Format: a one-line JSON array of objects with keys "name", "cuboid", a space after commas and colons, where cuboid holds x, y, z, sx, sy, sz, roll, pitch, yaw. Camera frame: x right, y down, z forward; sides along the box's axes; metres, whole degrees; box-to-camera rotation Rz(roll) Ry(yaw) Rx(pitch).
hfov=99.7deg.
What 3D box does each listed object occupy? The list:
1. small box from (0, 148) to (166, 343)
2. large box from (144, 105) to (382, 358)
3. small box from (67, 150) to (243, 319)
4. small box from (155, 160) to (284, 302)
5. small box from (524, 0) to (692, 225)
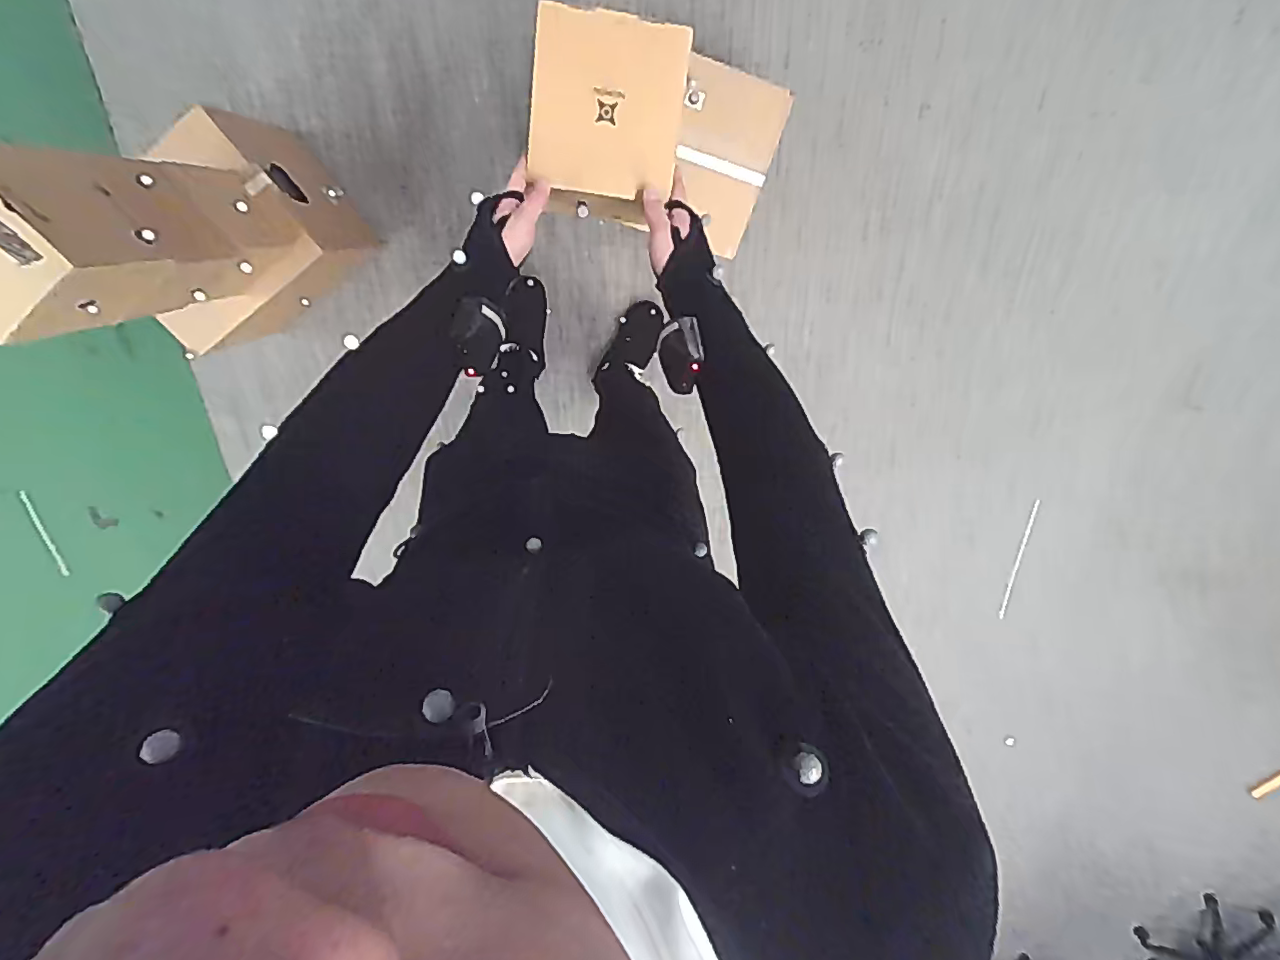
[{"name": "small box", "cuboid": [-0.795, -0.313, 0.716, 0.179, 0.176, 0.168, -31, 112, 15]}, {"name": "large box", "cuboid": [-0.893, -0.549, 1.236, 0.408, 0.320, 0.320, -31, 110, 14]}, {"name": "small box", "cuboid": [-0.803, -0.385, 0.862, 0.168, 0.176, 0.179, -30, 113, 13]}, {"name": "small box", "cuboid": [-0.812, -0.459, 1.007, 0.179, 0.176, 0.168, -32, 111, 13]}, {"name": "small box", "cuboid": [-0.039, -0.426, 0.659, 0.168, 0.176, 0.179, 6, 104, -5]}]
